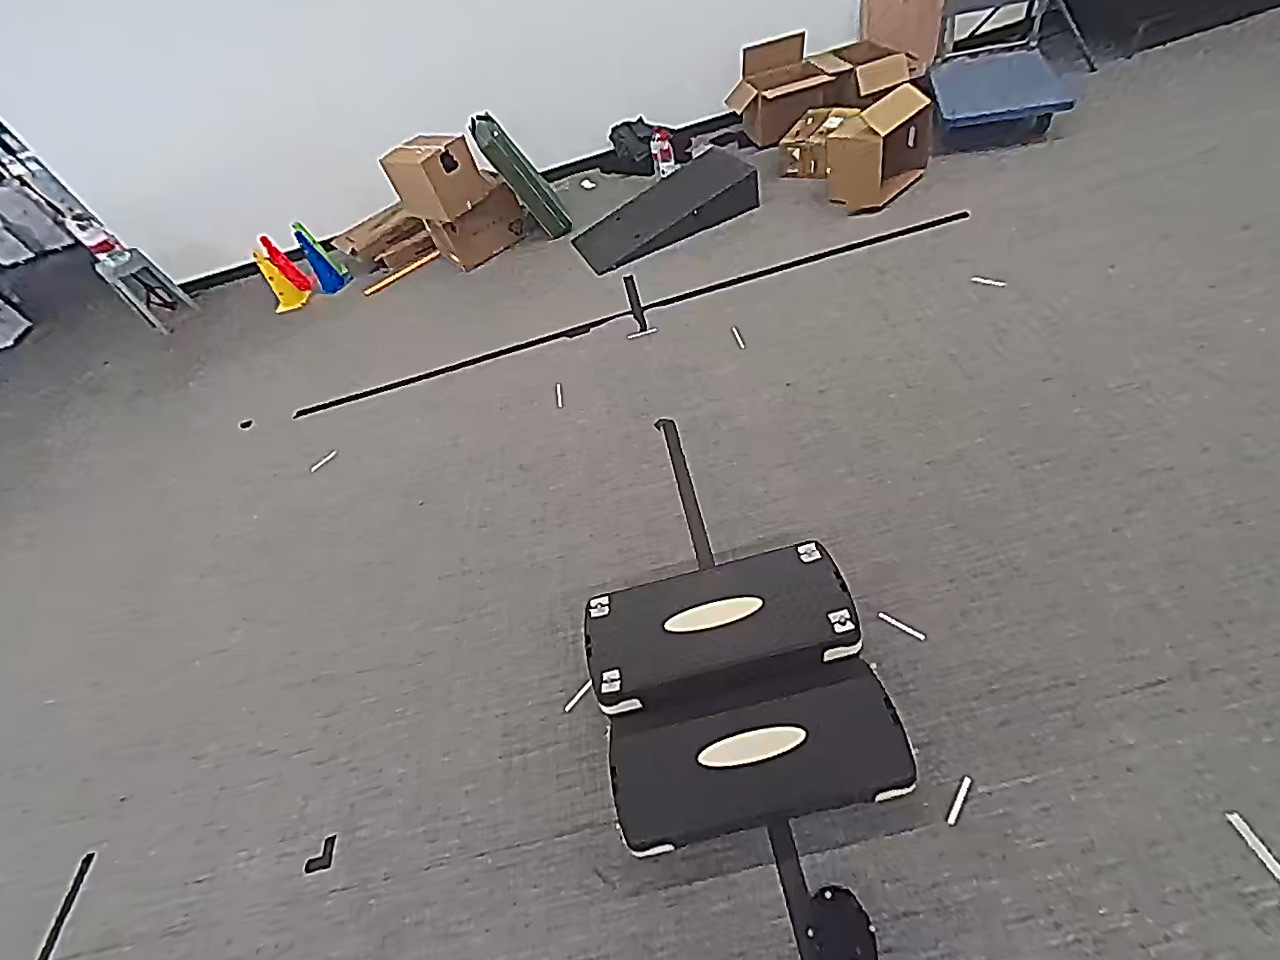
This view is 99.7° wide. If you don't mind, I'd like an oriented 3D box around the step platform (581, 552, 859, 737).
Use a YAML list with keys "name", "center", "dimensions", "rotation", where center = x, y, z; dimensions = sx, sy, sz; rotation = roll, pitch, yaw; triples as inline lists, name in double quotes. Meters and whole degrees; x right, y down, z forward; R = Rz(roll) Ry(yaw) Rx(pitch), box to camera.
- name: "step platform"
  center: [0.192, 0.418, 1.390]
  dimensions: [0.684, 0.204, 0.286]
  rotation: [-16, 49, 2]
